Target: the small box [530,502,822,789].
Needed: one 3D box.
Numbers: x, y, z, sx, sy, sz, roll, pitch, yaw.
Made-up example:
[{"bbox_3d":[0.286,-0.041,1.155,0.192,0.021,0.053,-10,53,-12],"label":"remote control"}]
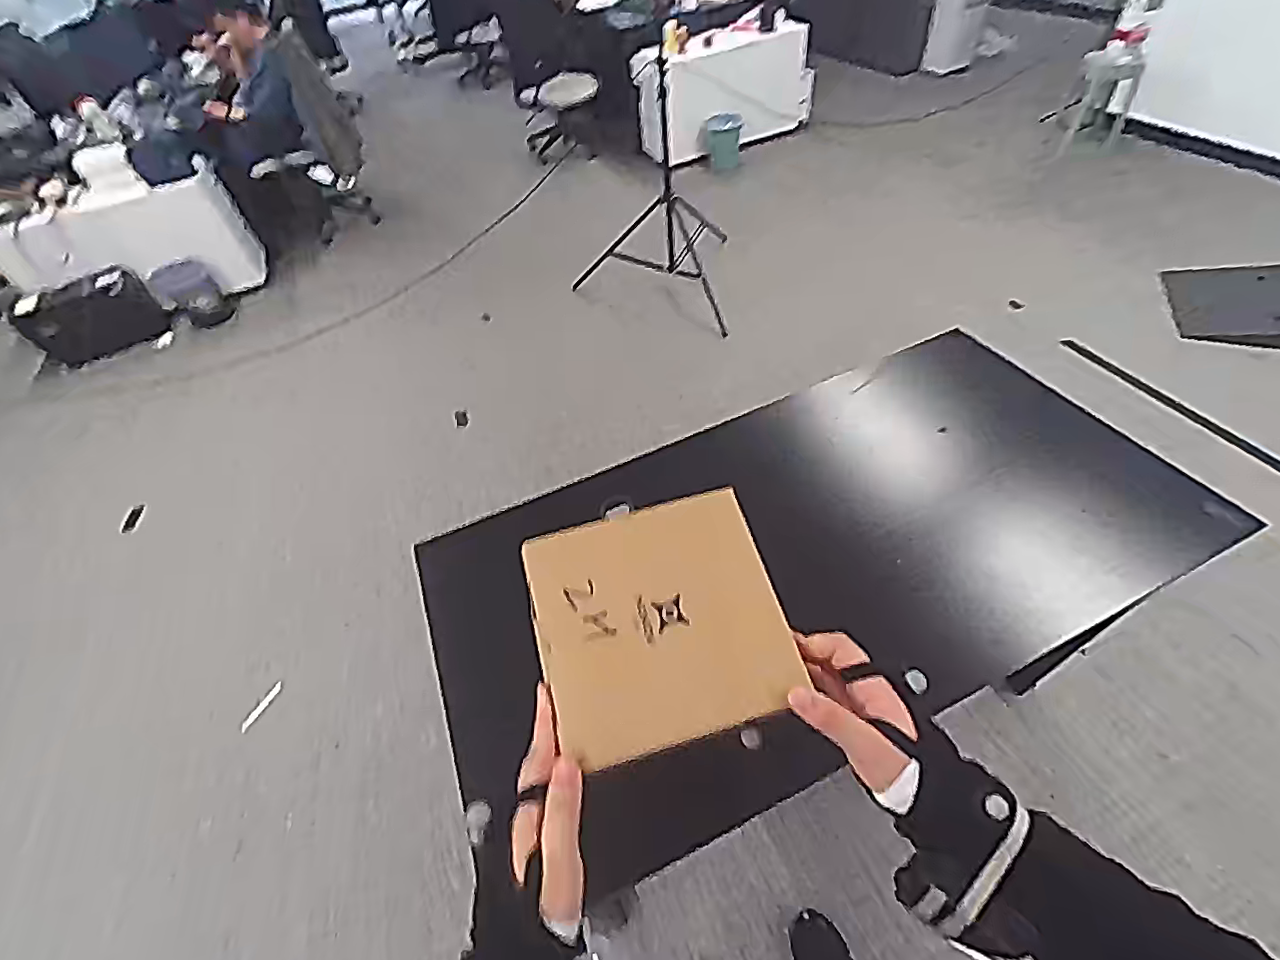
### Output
[{"bbox_3d":[0.020,0.142,0.458,0.179,0.176,0.168,-15,63,-6],"label":"small box"}]
